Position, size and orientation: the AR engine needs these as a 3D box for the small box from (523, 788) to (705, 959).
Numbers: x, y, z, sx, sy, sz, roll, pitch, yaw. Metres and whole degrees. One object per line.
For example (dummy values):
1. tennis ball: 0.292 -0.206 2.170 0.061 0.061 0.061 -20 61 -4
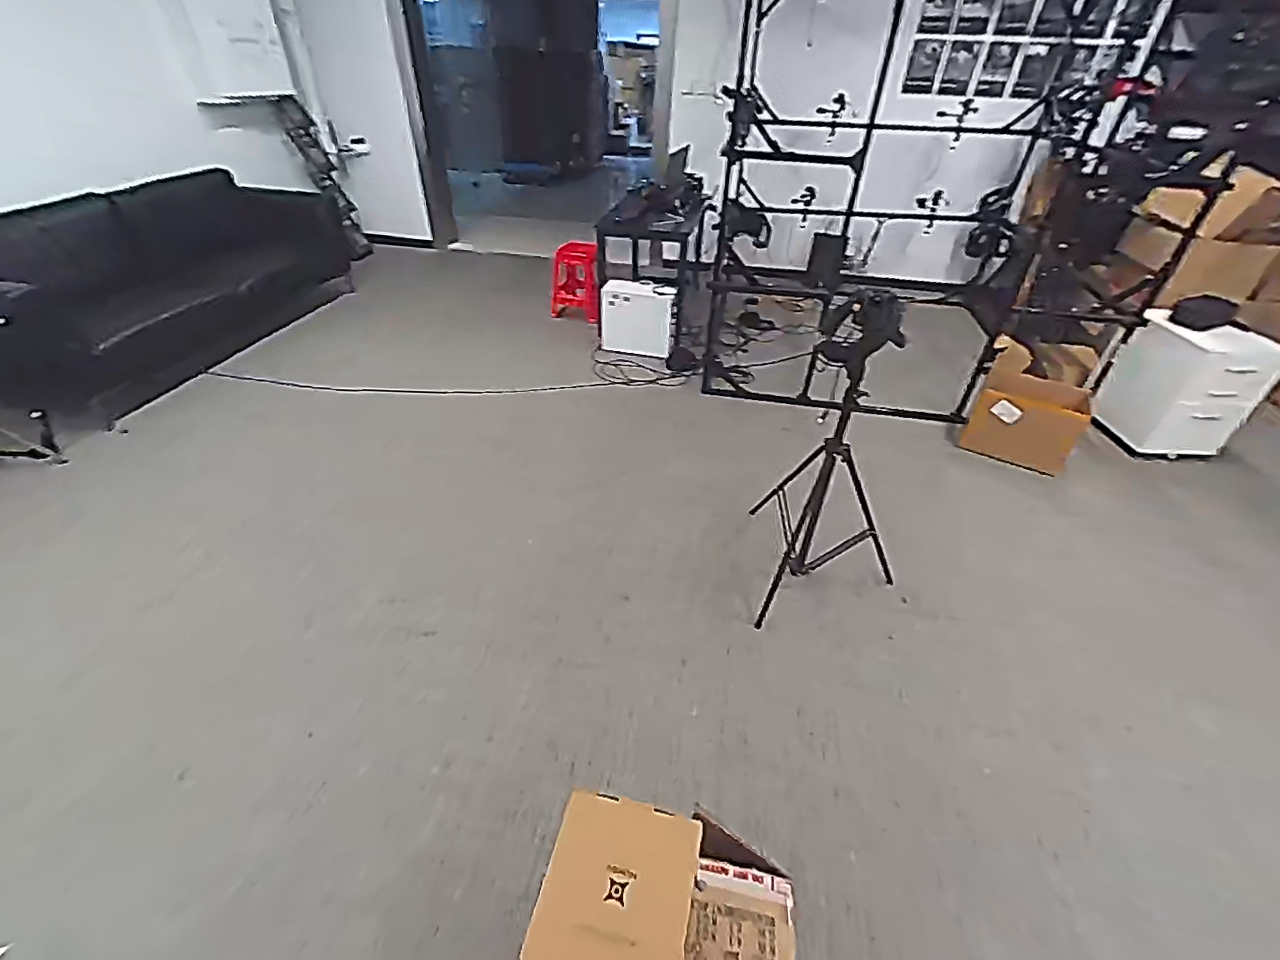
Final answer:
1. small box: -0.021 0.509 0.644 0.168 0.176 0.179 7 41 11
